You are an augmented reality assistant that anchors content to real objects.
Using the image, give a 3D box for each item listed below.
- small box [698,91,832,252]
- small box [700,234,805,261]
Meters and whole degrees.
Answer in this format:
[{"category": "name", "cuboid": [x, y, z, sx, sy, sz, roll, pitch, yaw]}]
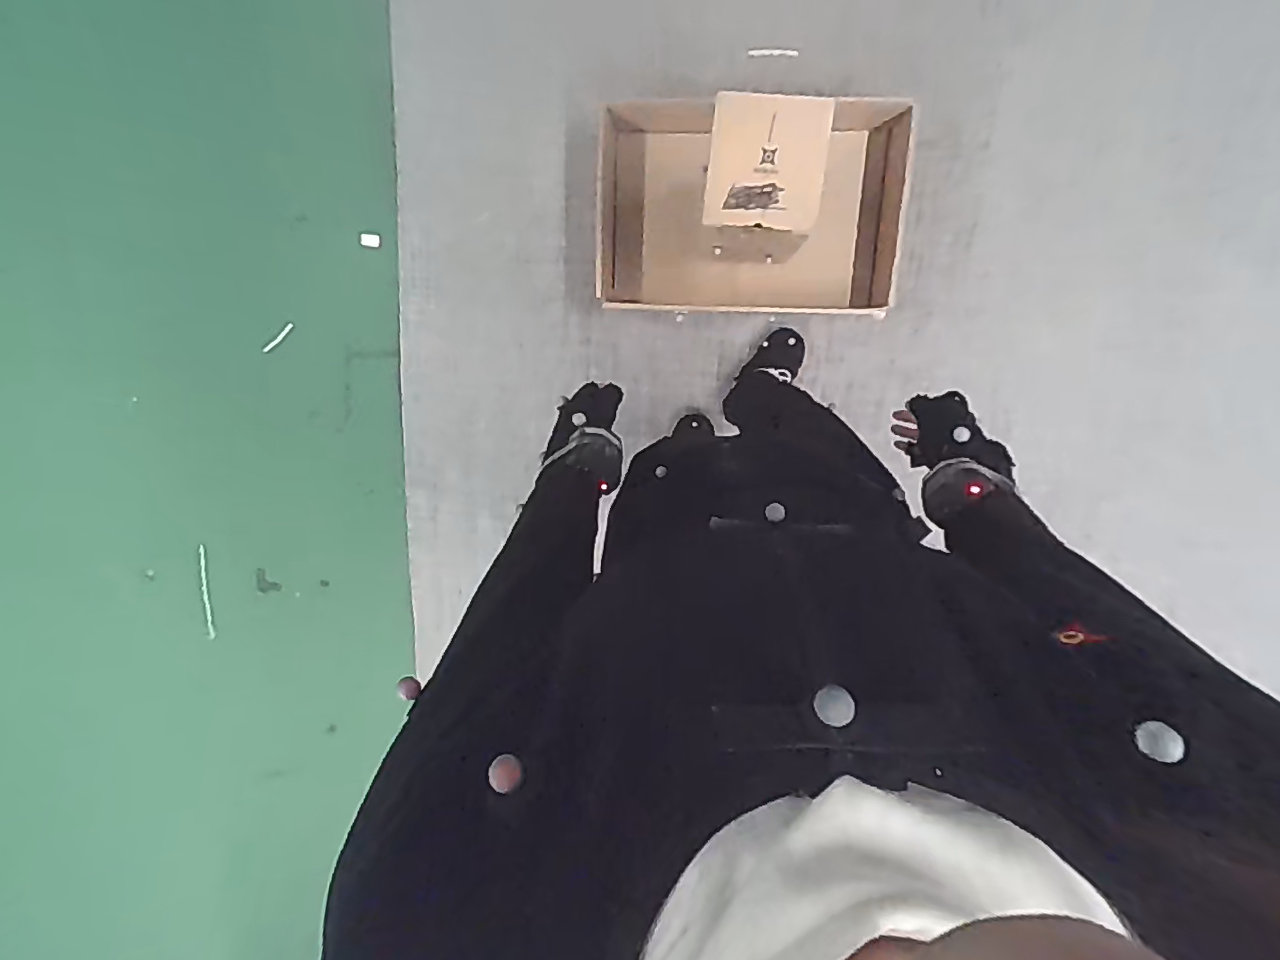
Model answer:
[{"category": "small box", "cuboid": [0.184, -0.468, 0.847, 0.168, 0.176, 0.179, 7, 102, 4]}, {"category": "small box", "cuboid": [0.204, -0.503, 0.990, 0.179, 0.176, 0.168, 3, 103, 5]}]
